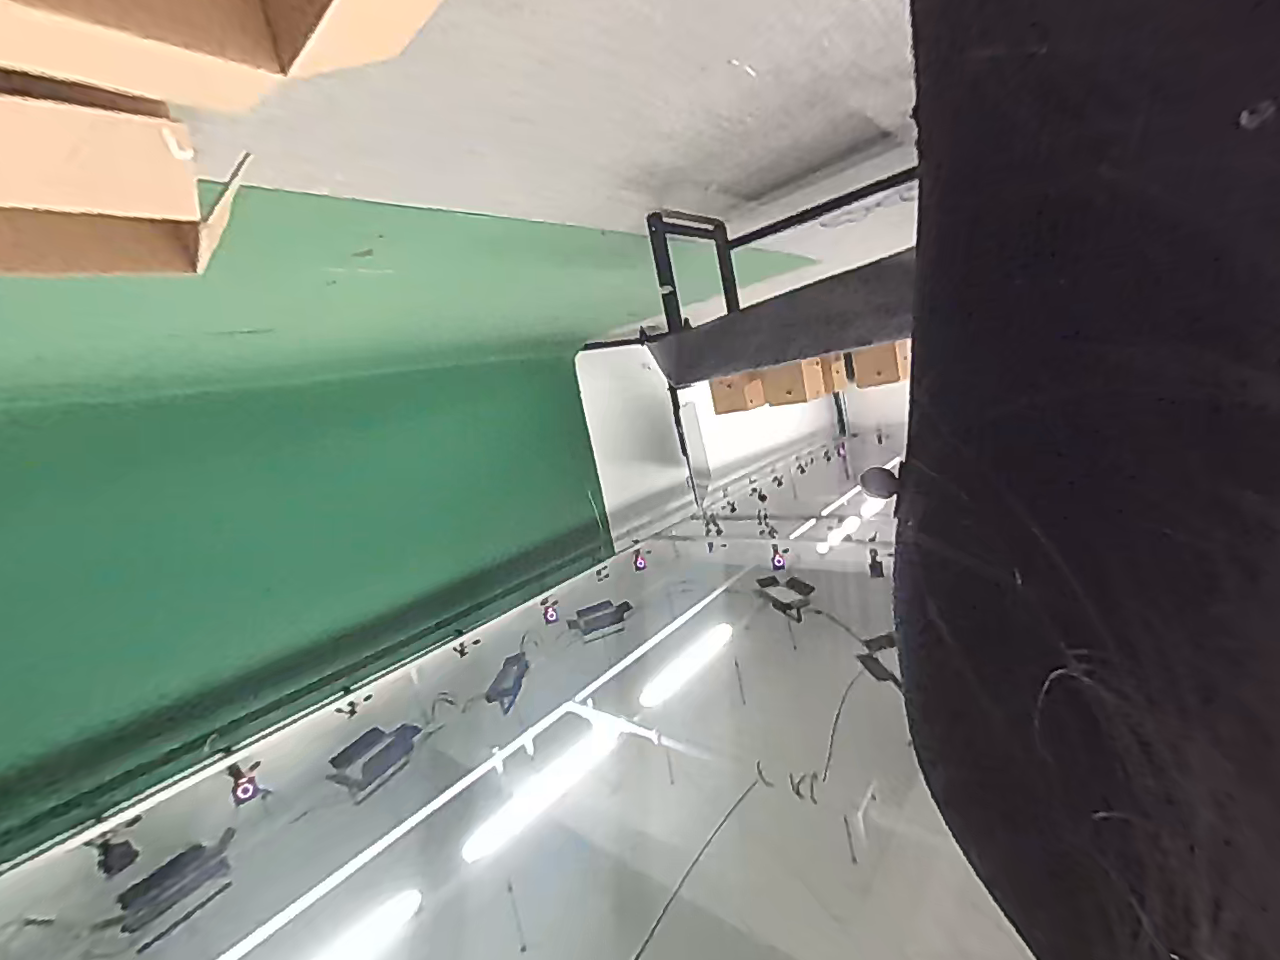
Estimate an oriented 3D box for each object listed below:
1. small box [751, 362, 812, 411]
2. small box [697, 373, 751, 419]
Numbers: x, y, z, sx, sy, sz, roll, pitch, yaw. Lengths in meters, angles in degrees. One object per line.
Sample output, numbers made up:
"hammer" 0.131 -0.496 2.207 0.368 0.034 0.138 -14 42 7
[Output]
"small box" 0.582 -0.391 2.230 0.179 0.176 0.168 -3 -168 44
"small box" 0.372 -0.374 2.386 0.168 0.176 0.179 -5 -169 38
